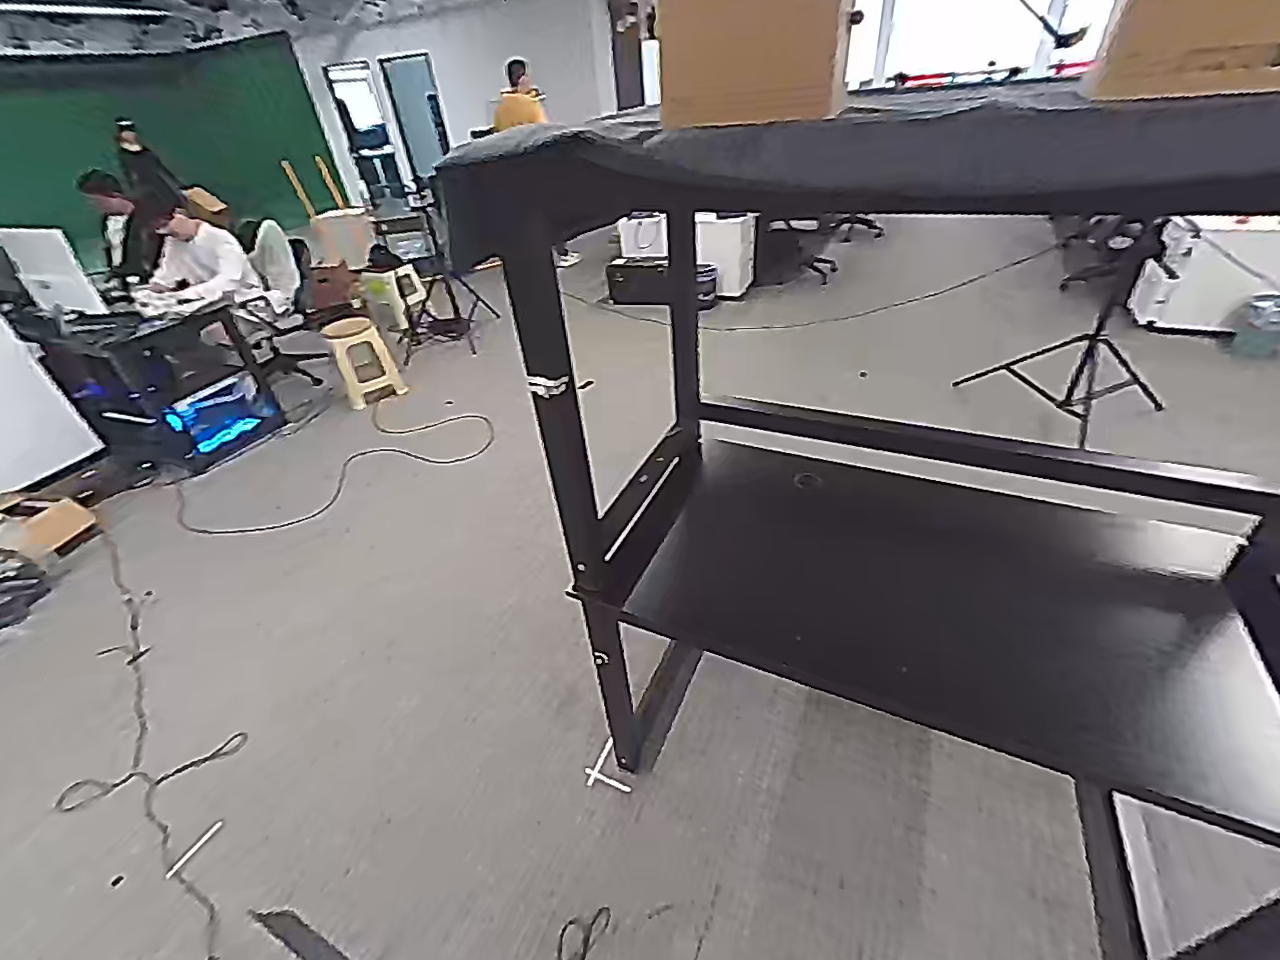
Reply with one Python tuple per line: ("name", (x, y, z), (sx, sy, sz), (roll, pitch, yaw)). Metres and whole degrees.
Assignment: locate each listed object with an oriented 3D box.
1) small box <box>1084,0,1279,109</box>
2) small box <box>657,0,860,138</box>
("small box", (0.481, -0.397, 0.421), (0.168, 0.176, 0.179), (15, 39, 26))
("small box", (0.128, -0.462, 0.556), (0.179, 0.176, 0.168), (10, 37, 20))
